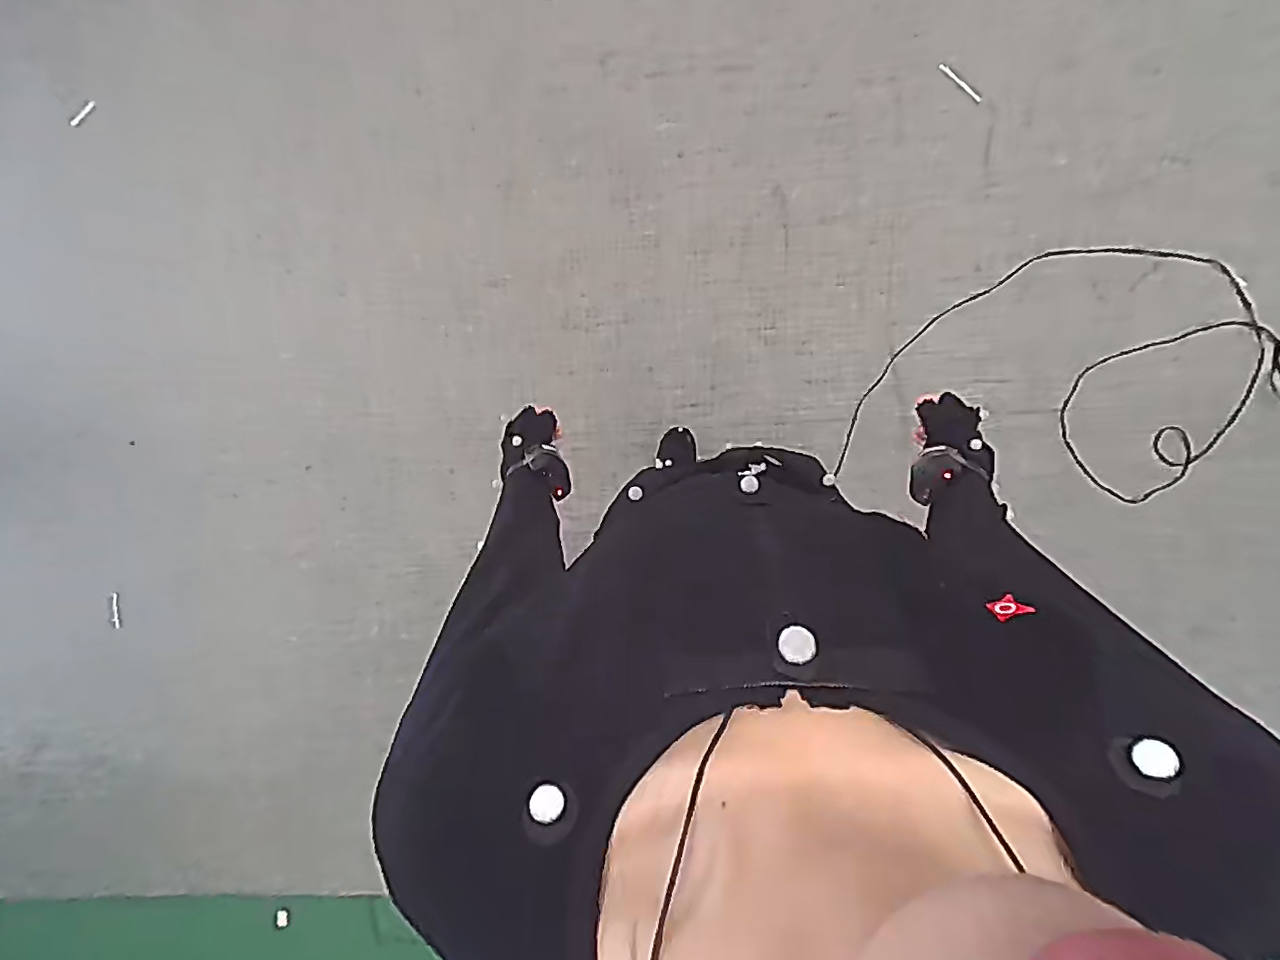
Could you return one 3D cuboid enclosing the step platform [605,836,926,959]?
[{"bbox_3d":[0.267,1.017,1.238,0.684,0.204,0.286,-3,92,1],"label":"step platform"}]
